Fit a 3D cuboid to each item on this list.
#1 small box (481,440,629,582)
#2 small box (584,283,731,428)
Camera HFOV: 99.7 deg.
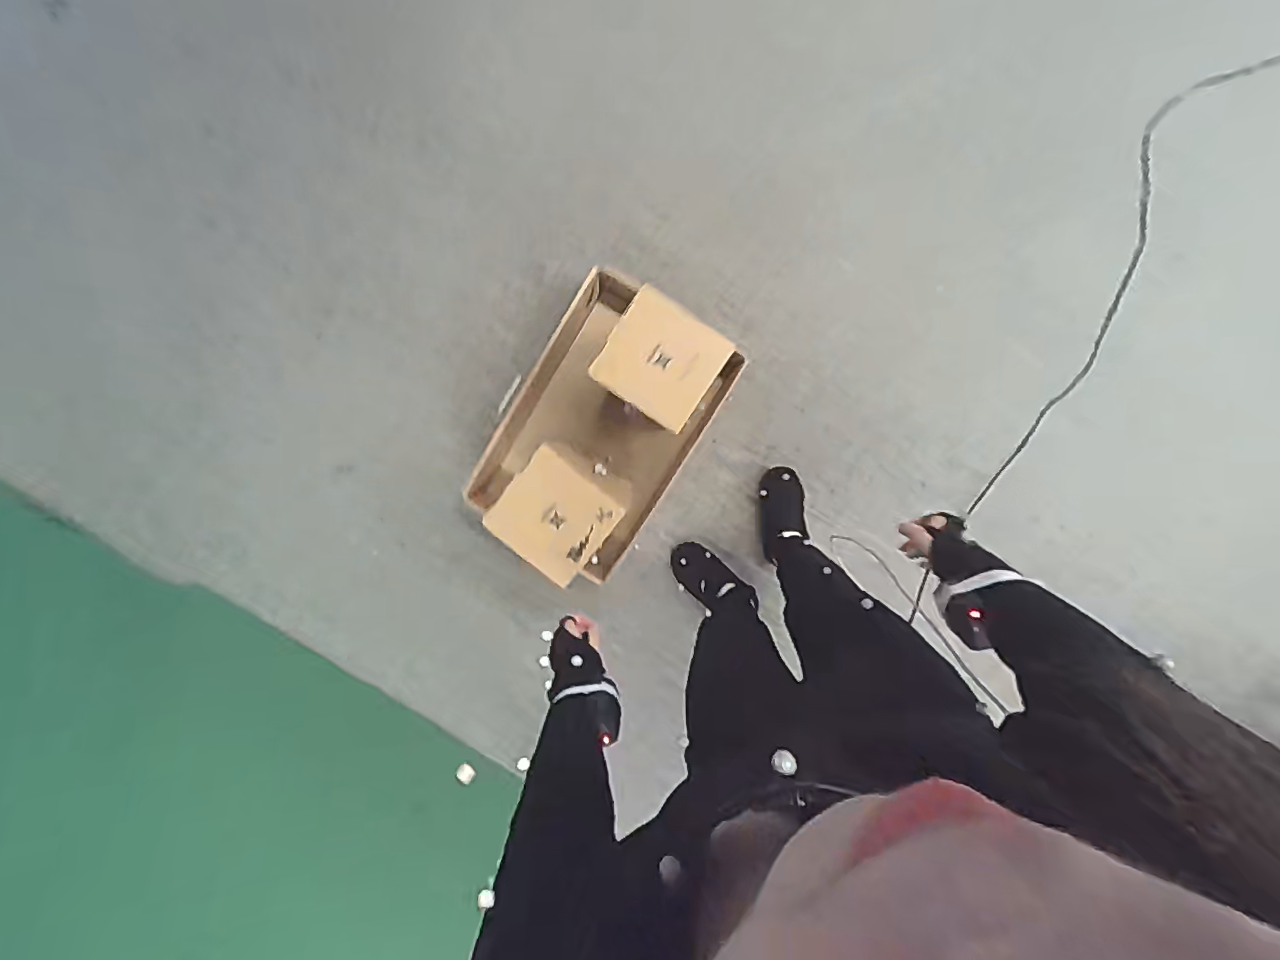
[{"bbox_3d":[-0.138,0.047,0.945,0.179,0.176,0.168,40,96,0],"label":"small box"},{"bbox_3d":[0.030,-0.199,0.921,0.179,0.176,0.168,34,96,-1],"label":"small box"}]
